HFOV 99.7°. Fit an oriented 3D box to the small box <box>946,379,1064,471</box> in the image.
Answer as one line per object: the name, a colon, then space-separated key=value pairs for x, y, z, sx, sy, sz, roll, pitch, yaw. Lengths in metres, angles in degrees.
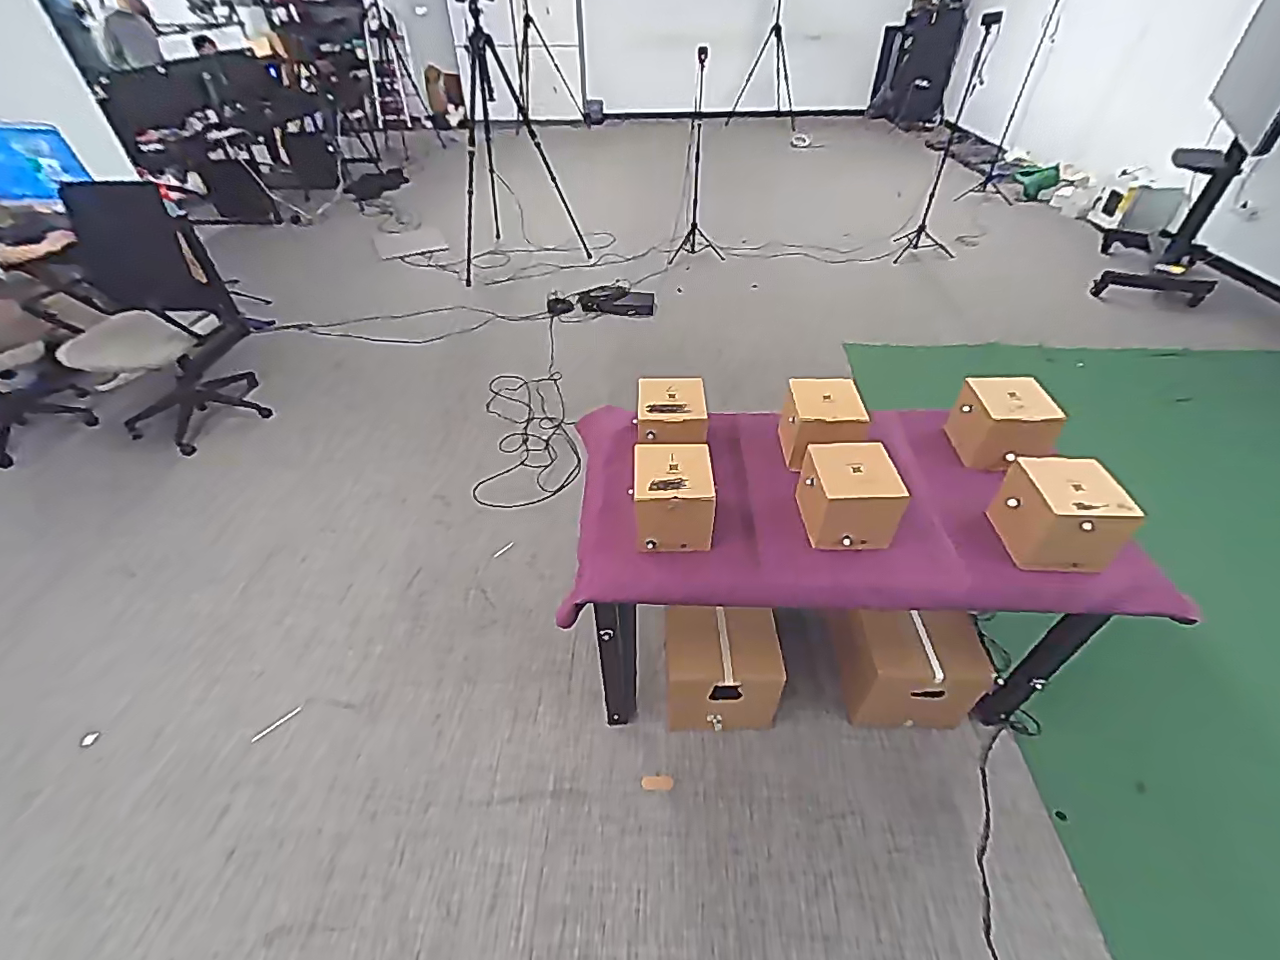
small box: x=0.909 y=-0.140 z=1.369 sx=0.168 sy=0.176 sz=0.179 roll=0 pitch=44 yaw=5

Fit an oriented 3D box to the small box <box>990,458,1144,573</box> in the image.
small box: x=0.879 y=0.073 z=1.139 sx=0.168 sy=0.176 sz=0.179 roll=1 pitch=40 yaw=5

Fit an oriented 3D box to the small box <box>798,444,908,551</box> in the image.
small box: x=0.457 y=0.038 z=1.194 sx=0.168 sy=0.176 sz=0.179 roll=-1 pitch=42 yaw=1

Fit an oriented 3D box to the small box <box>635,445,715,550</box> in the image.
small box: x=0.073 y=0.041 z=1.198 sx=0.168 sy=0.176 sz=0.179 roll=0 pitch=41 yaw=0

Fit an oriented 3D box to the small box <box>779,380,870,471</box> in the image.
small box: x=0.462 y=-0.138 z=1.387 sx=0.168 sy=0.176 sz=0.179 roll=1 pitch=44 yaw=2

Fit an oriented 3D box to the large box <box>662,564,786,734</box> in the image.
large box: x=0.233 y=0.513 z=1.660 sx=0.320 sy=0.320 sz=0.408 roll=-1 pitch=41 yaw=0
